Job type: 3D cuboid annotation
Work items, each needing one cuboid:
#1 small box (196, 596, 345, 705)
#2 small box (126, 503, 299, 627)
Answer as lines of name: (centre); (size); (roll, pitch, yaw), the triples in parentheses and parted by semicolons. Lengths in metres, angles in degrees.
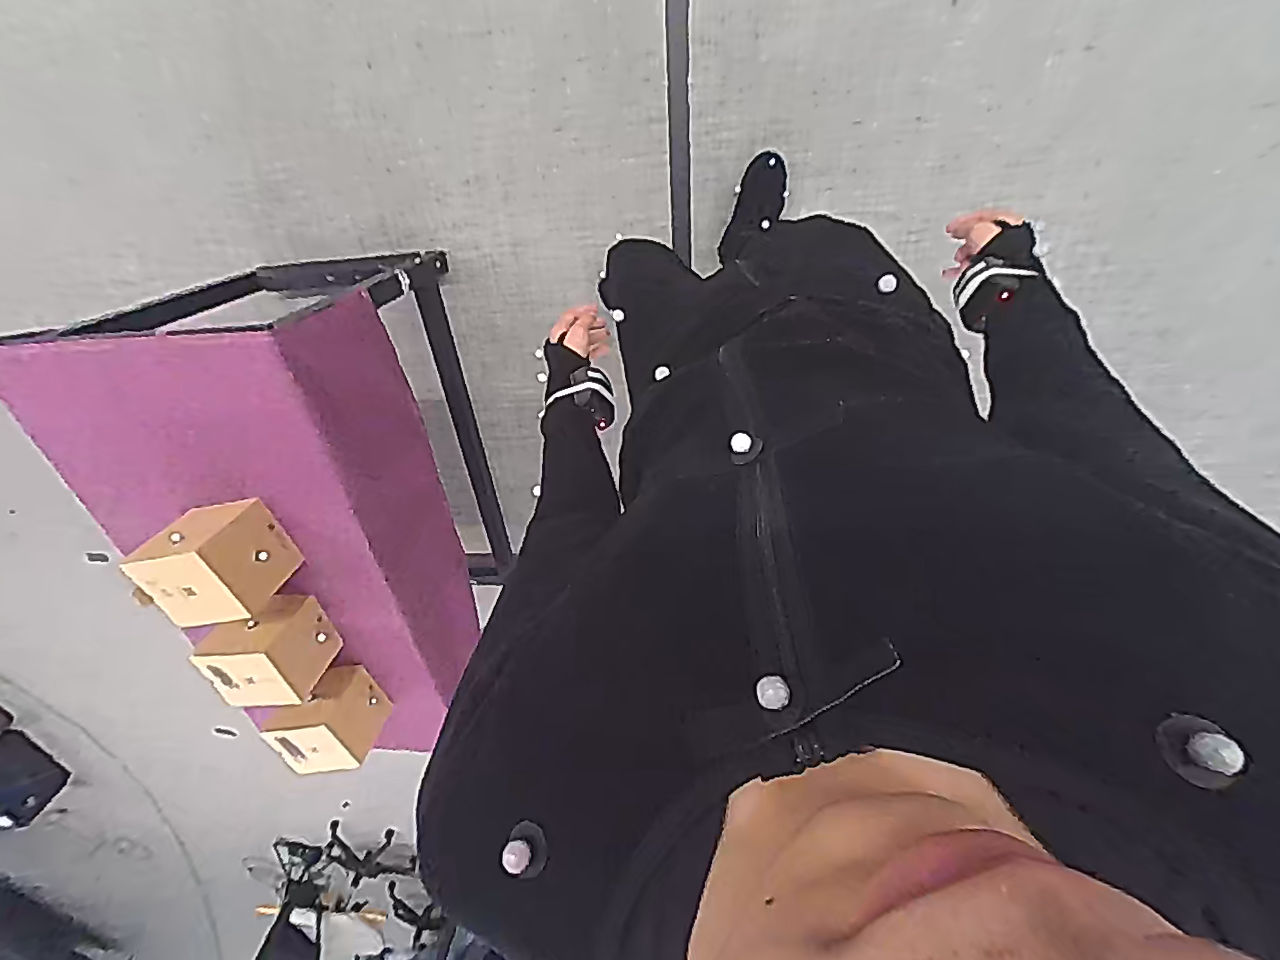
small box: (-0.803, 0.373, 1.196); (0.179, 0.176, 0.168); (-5, 122, 9)
small box: (-0.814, 0.161, 1.058); (0.179, 0.176, 0.168); (-9, 121, 13)
